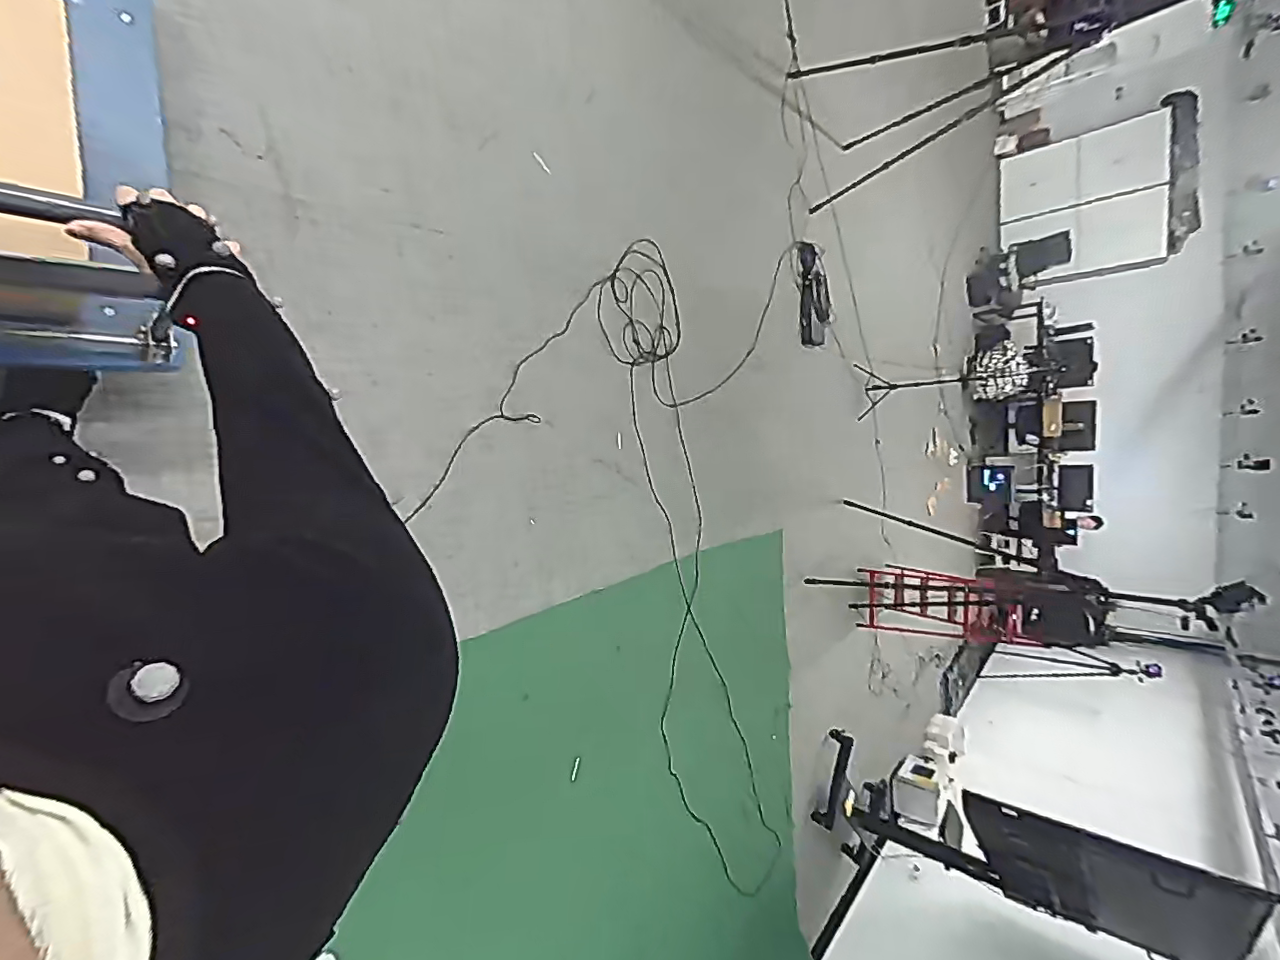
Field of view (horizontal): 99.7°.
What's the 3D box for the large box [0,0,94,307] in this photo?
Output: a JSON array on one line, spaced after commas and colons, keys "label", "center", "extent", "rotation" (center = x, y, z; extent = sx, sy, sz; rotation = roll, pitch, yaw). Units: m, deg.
[{"label": "large box", "center": [-1.063, -0.509, 0.808], "extent": [0.320, 0.320, 0.408], "rotation": [-7, 94, -47]}]
